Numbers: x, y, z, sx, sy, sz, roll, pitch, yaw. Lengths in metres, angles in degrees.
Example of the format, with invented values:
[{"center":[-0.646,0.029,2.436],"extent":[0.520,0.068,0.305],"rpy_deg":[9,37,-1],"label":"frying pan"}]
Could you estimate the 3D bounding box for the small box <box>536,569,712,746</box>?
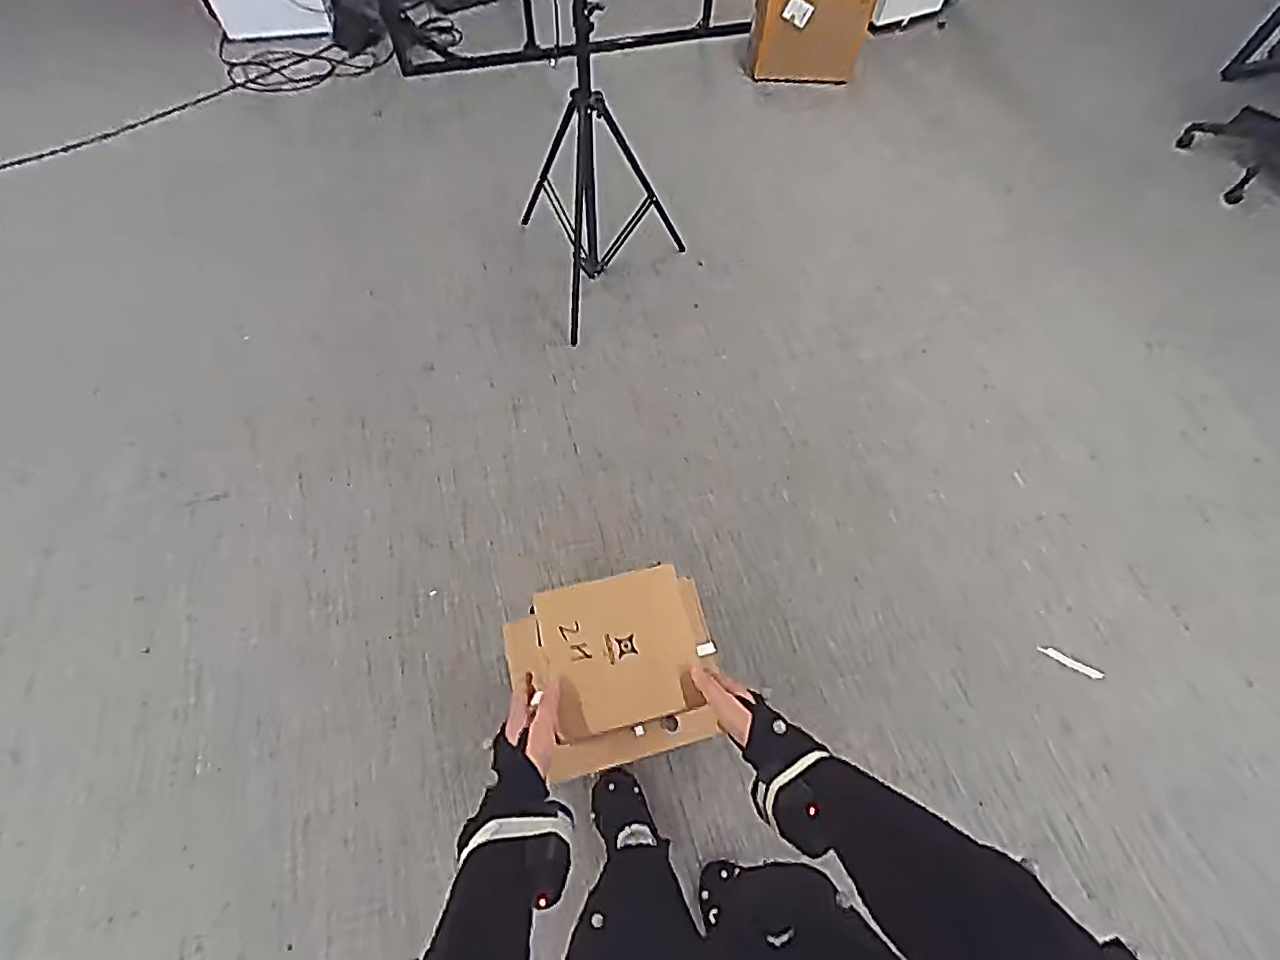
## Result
[{"center":[-0.026,0.228,0.691],"extent":[0.179,0.176,0.168],"rpy_deg":[-12,66,-8],"label":"small box"}]
